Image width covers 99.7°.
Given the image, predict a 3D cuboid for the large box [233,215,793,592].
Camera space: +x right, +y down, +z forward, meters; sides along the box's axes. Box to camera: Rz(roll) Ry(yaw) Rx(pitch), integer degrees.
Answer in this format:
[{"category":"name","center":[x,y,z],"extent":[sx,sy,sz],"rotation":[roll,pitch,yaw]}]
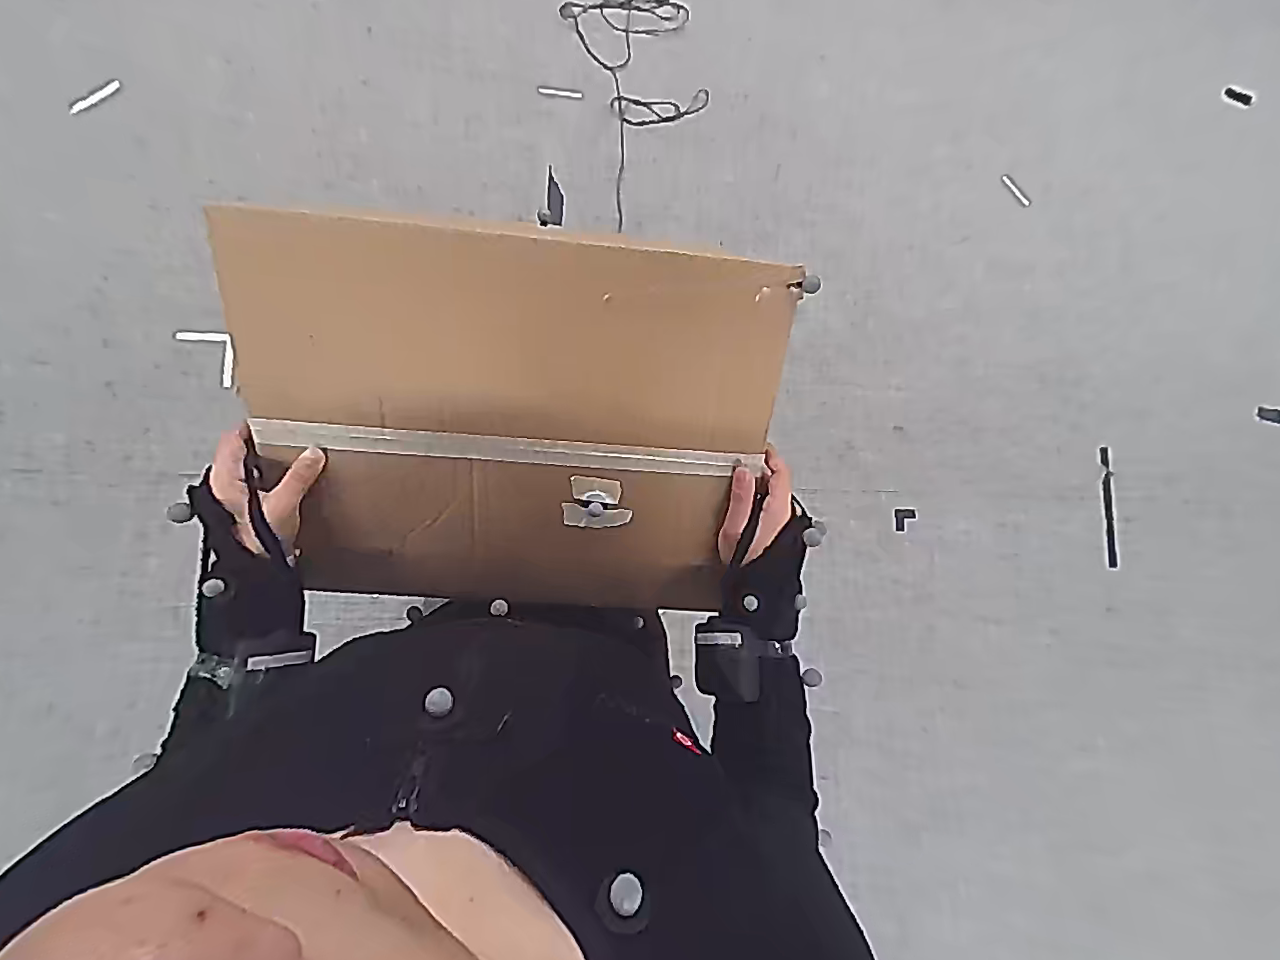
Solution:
[{"category":"large box","center":[-0.105,-0.099,0.582],"extent":[0.408,0.320,0.320],"rotation":[3,117,-6]}]
